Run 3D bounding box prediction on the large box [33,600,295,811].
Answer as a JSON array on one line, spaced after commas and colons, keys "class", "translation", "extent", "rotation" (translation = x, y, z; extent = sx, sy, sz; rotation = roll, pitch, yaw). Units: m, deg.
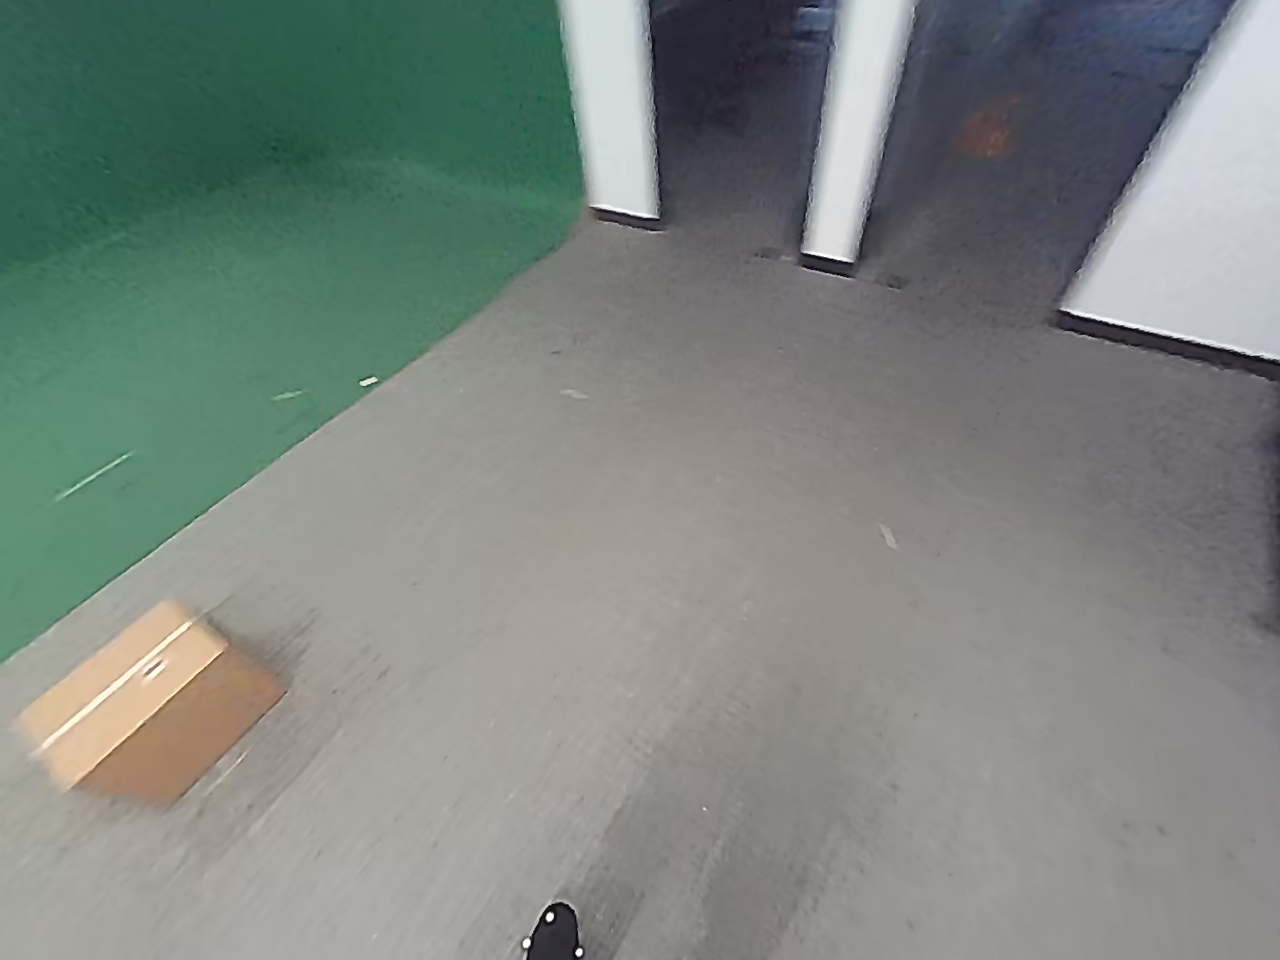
[{"class": "large box", "translation": [-1.319, 0.636, 1.539], "extent": [0.320, 0.320, 0.408], "rotation": [24, 56, 23]}]
